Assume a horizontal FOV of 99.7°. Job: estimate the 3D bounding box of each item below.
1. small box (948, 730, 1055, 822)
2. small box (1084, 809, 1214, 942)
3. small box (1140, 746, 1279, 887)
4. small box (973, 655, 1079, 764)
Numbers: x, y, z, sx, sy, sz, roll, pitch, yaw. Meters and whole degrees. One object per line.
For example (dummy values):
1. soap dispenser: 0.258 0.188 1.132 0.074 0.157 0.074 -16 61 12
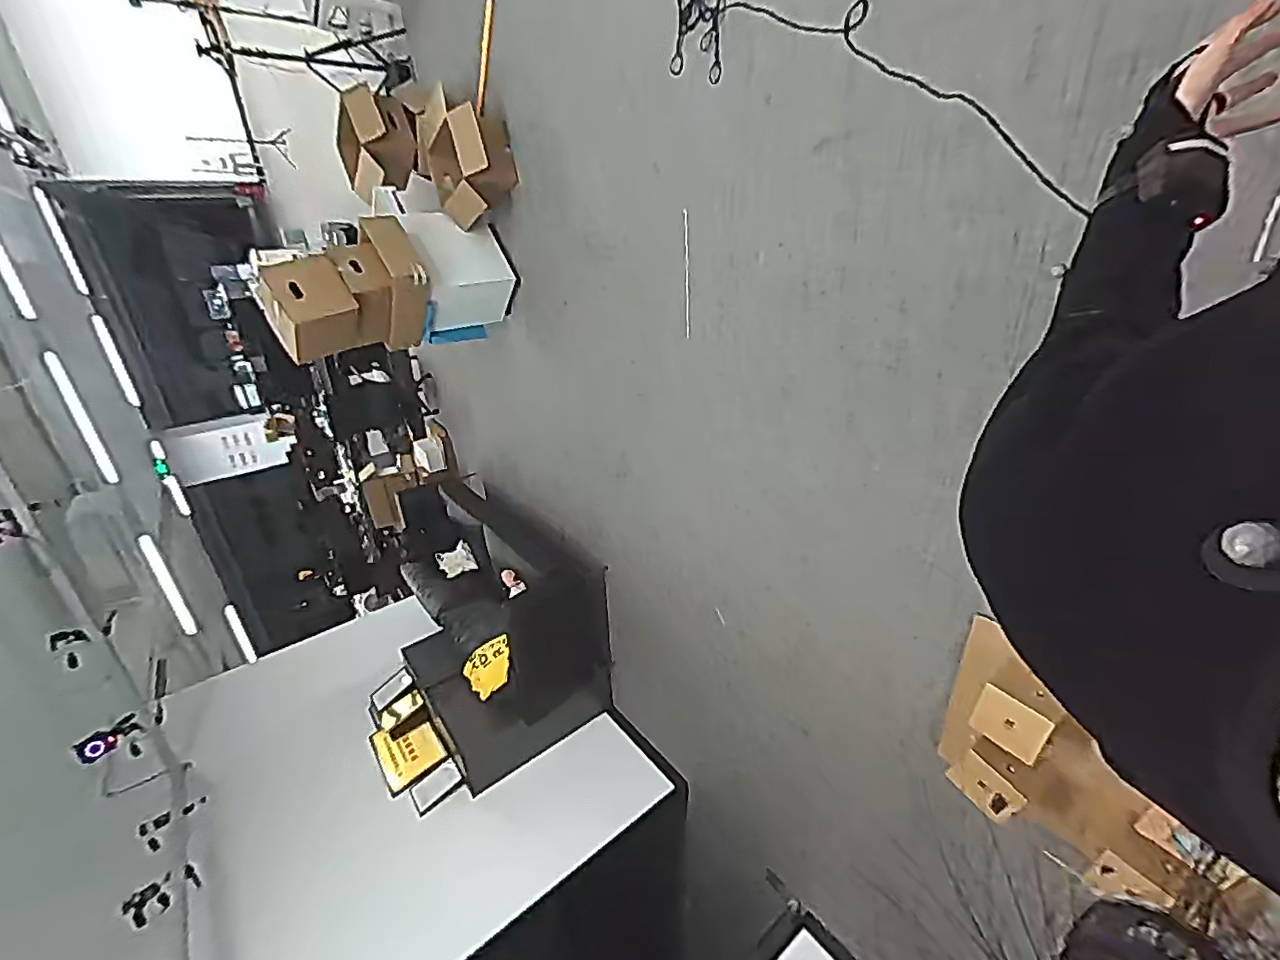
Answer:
1. small box: 1.060 0.846 1.583 0.179 0.176 0.168 44 140 36
2. small box: 1.273 0.978 1.350 0.179 0.176 0.168 34 134 42
3. small box: 1.280 0.740 1.207 0.168 0.176 0.179 34 134 43
4. small box: 1.051 0.615 1.471 0.168 0.176 0.179 32 133 44
